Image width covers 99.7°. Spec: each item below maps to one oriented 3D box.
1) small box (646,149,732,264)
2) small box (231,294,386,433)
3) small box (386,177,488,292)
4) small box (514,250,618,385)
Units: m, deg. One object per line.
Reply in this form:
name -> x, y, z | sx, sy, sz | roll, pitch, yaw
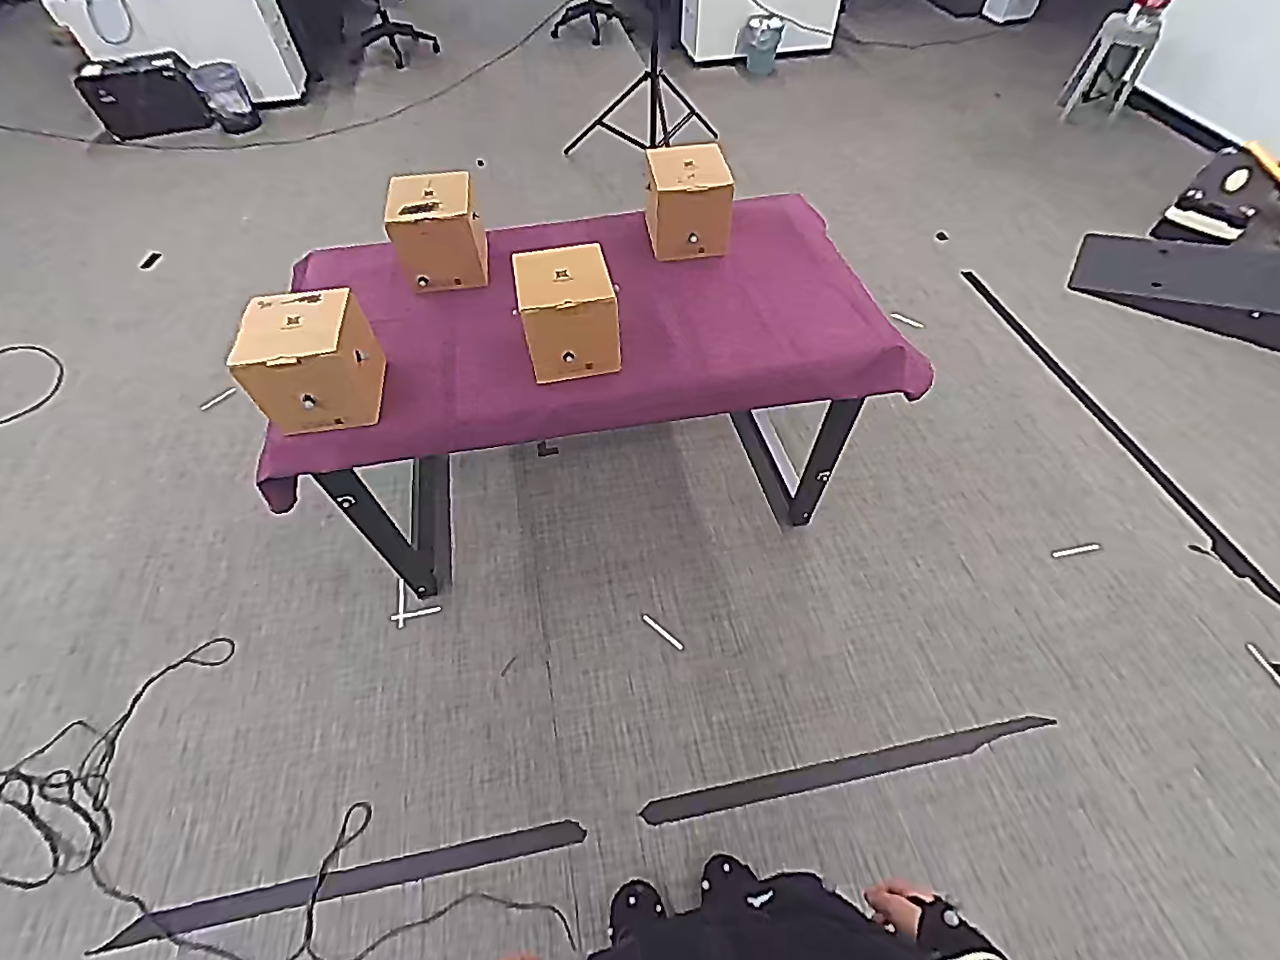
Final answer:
small box -> 0.104, -0.625, 1.240 | 0.168, 0.176, 0.179 | -8, 58, -3
small box -> -0.566, -0.198, 0.953 | 0.168, 0.176, 0.179 | -9, 55, -6
small box -> -0.435, -0.529, 1.184 | 0.168, 0.176, 0.179 | -8, 56, -5
small box -> -0.138, -0.307, 1.027 | 0.168, 0.176, 0.179 | -11, 55, -7
